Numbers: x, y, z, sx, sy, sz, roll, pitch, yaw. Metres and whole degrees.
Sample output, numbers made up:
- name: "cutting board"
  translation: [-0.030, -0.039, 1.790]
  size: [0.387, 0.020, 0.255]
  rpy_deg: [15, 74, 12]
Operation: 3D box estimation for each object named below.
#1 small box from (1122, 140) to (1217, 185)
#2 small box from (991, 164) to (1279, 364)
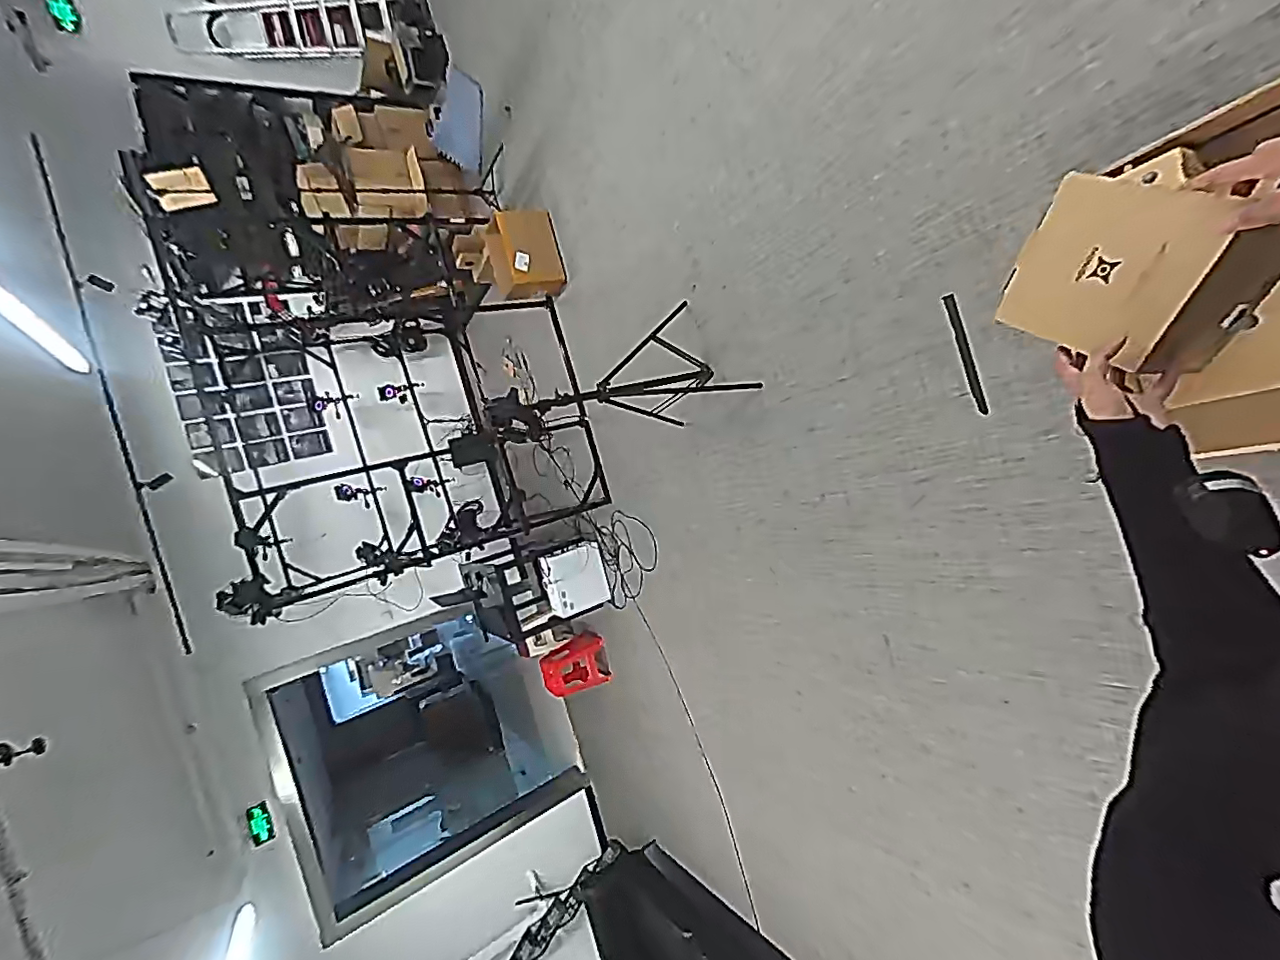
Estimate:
- name: "small box"
  translation: [1.024, -0.546, 1.091]
  size: [0.179, 0.176, 0.168]
  rpy_deg: [-15, 93, 57]
- name: "small box"
  translation: [0.559, -0.237, 0.607]
  size: [0.179, 0.176, 0.168]
  rpy_deg: [54, 141, 46]
